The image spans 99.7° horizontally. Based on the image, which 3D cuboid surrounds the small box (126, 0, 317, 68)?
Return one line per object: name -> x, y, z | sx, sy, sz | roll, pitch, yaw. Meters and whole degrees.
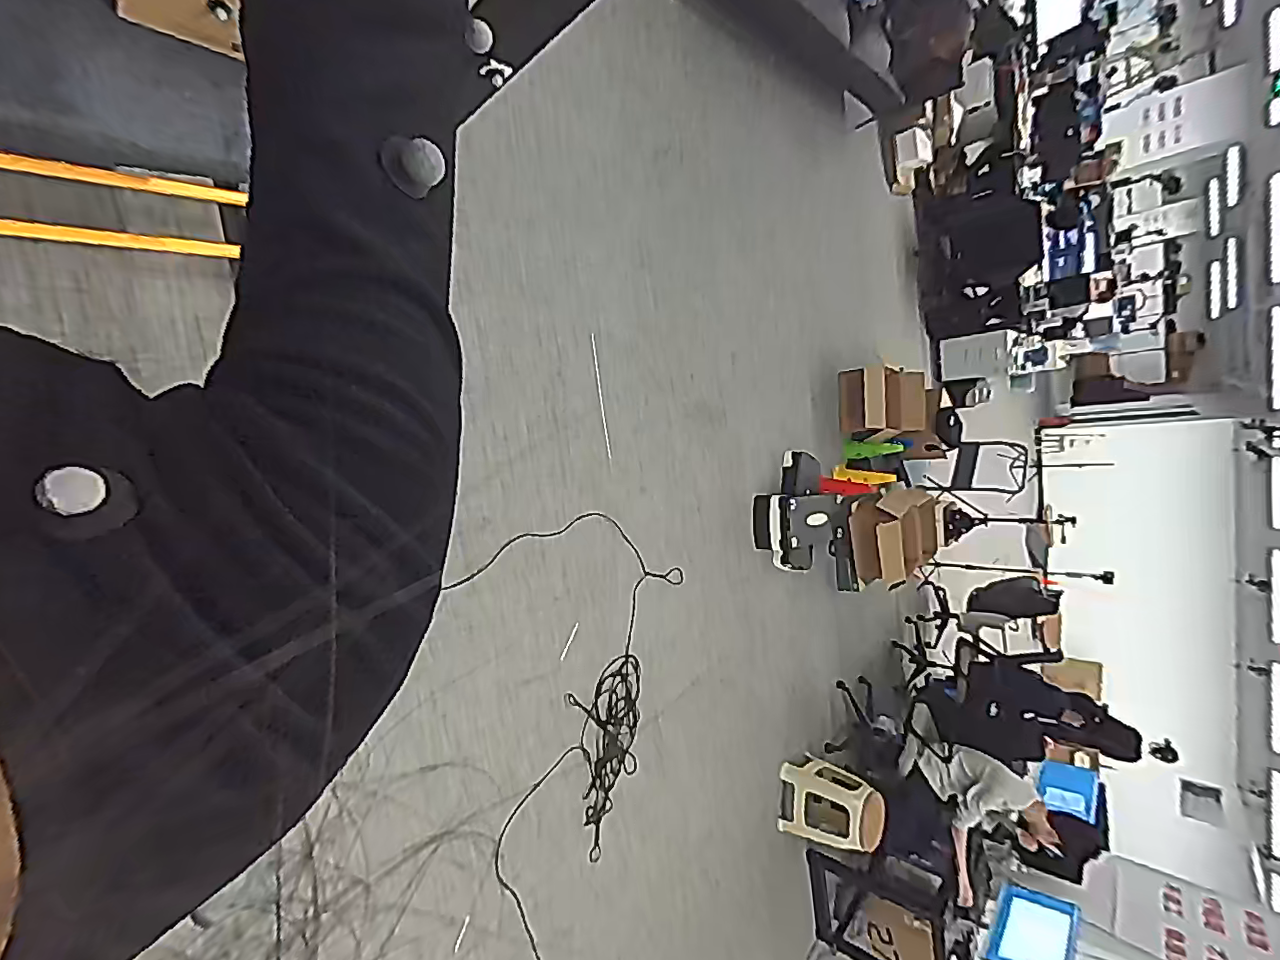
small box -> -0.456, -0.593, 0.572 | 0.168, 0.176, 0.179 | -10, 96, -47
